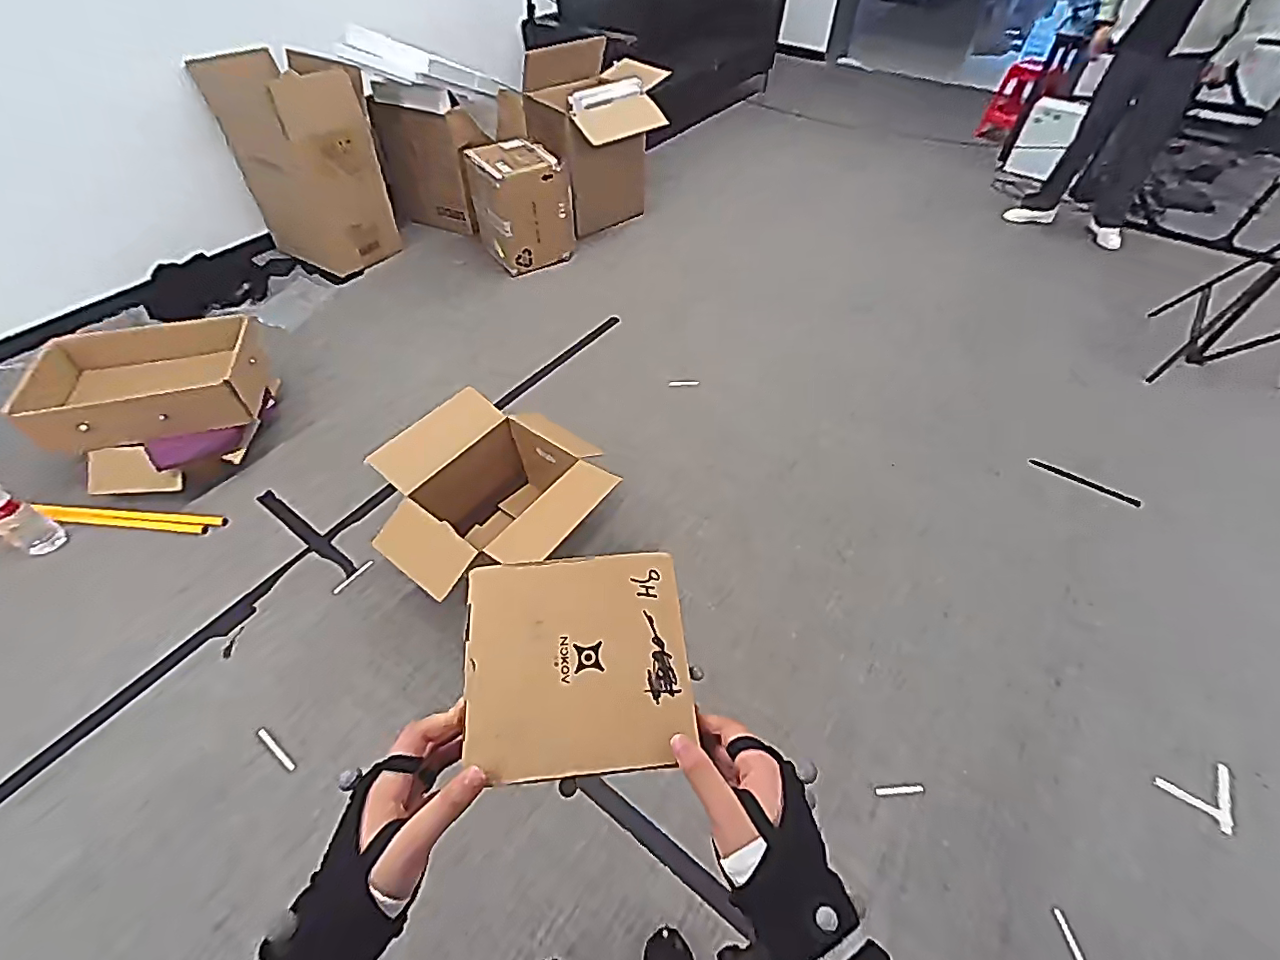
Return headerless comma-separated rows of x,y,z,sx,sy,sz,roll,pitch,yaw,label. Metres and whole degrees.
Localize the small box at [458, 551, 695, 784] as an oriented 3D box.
-0.053,0.179,0.499,0.179,0.176,0.168,-5,62,-4,small box
